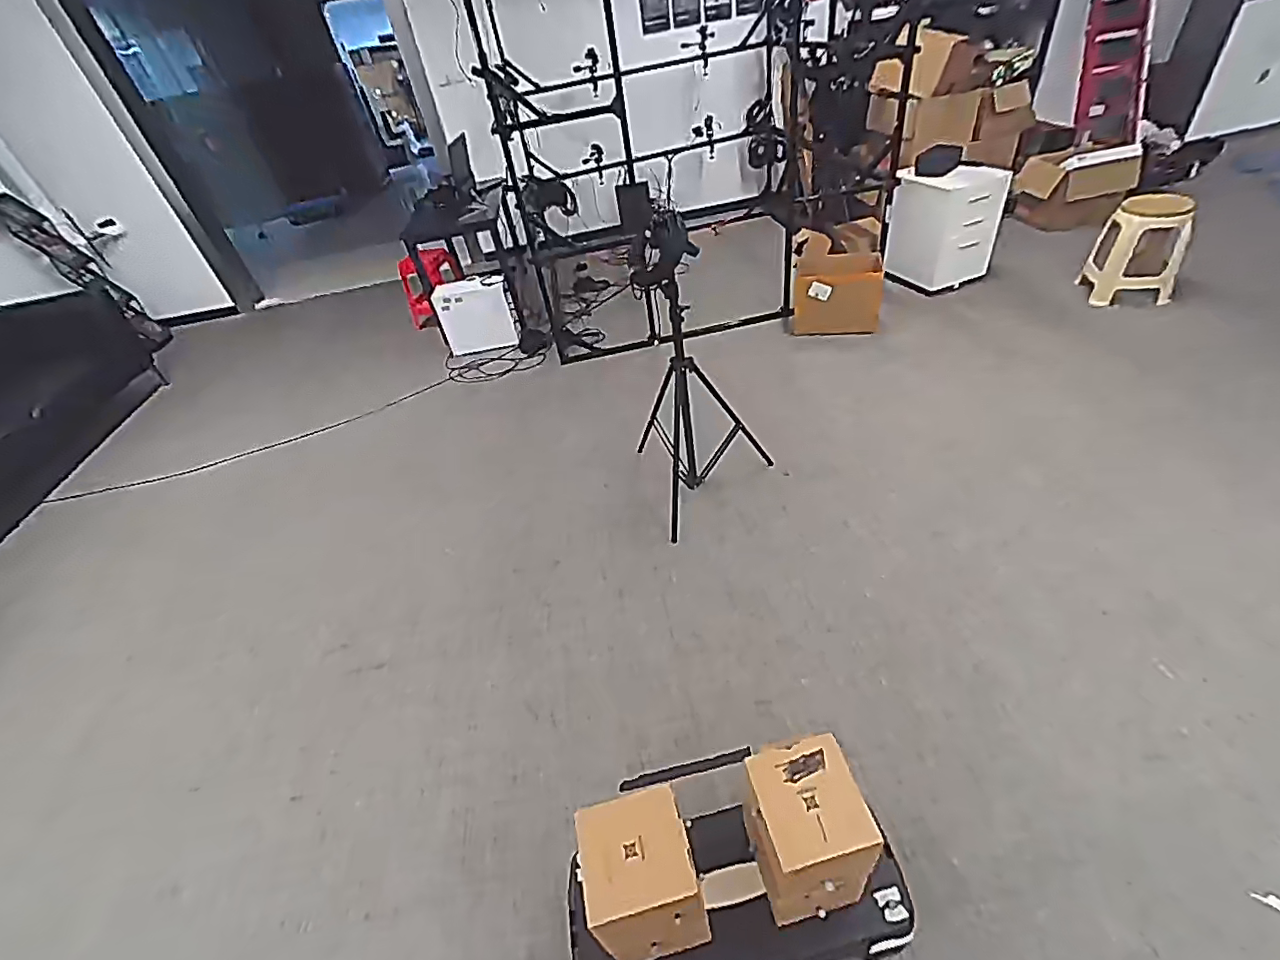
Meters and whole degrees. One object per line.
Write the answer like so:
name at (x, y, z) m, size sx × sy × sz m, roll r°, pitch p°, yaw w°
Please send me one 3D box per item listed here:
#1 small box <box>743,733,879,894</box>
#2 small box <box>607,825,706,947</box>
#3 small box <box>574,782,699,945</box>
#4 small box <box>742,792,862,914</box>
small box at (0.287, 0.582, 0.946) m, size 0.168 × 0.176 × 0.179 m, roll -15°, pitch 41°, yaw -3°
small box at (0.022, 0.779, 1.033) m, size 0.179 × 0.176 × 0.168 m, roll -15°, pitch 40°, yaw -4°
small box at (-0.002, 0.657, 0.927) m, size 0.179 × 0.176 × 0.168 m, roll -15°, pitch 39°, yaw -5°
small box at (0.304, 0.710, 1.049) m, size 0.168 × 0.176 × 0.179 m, roll -15°, pitch 40°, yaw -3°
